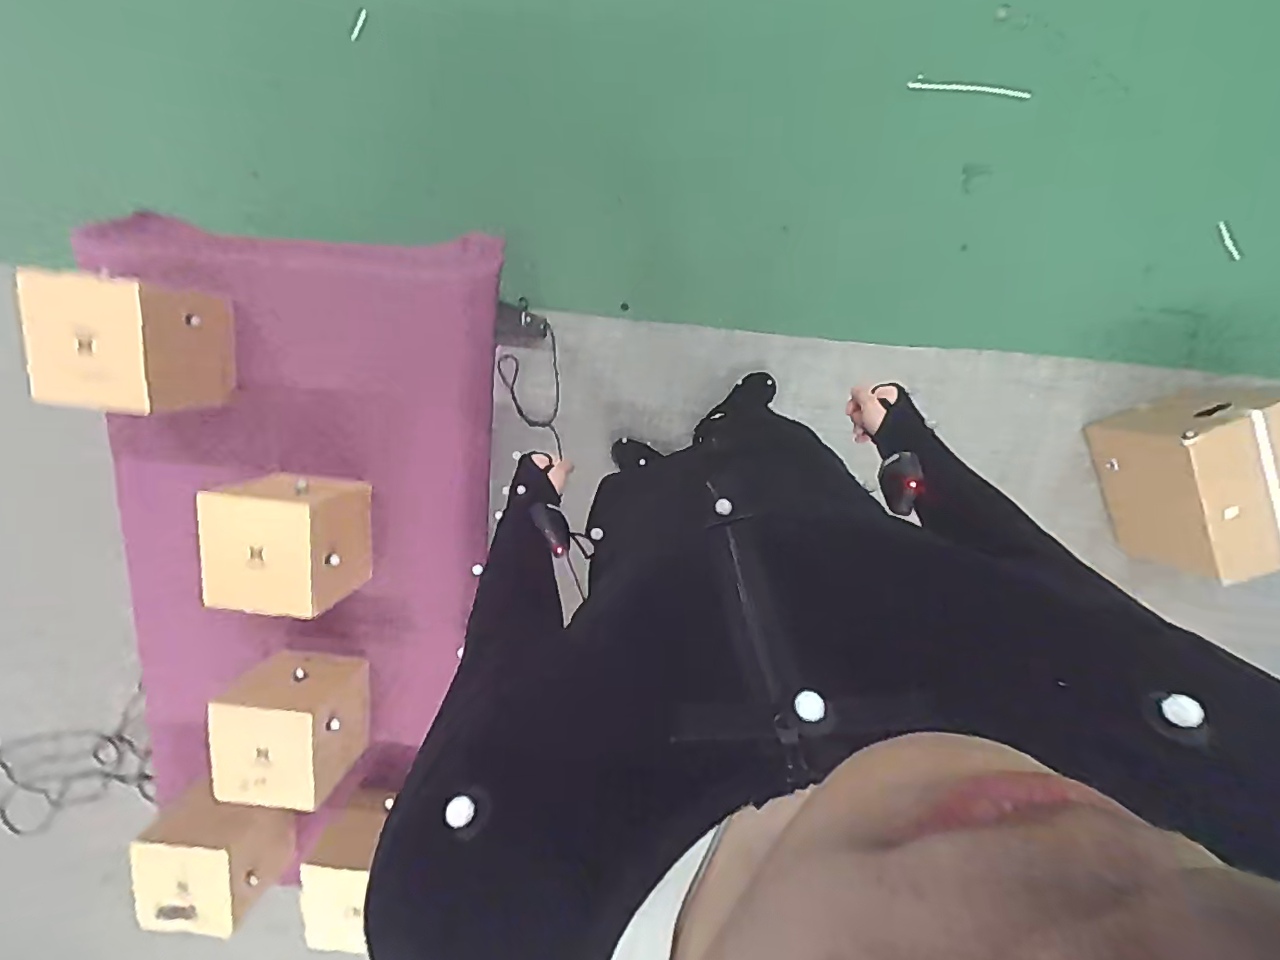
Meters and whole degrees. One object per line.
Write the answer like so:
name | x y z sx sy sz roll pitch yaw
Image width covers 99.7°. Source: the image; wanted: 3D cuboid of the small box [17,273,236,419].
small box | -0.738 -0.192 0.799 0.168 0.176 0.179 6 102 0

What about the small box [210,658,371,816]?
small box | -0.579 0.424 0.916 0.168 0.176 0.179 6 101 2

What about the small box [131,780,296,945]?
small box | -0.751 0.674 0.972 0.168 0.176 0.179 5 100 1

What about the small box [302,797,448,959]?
small box | -0.462 0.700 0.964 0.179 0.176 0.168 4 101 3

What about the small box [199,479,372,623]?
small box | -0.545 0.102 0.854 0.168 0.176 0.179 6 103 1
